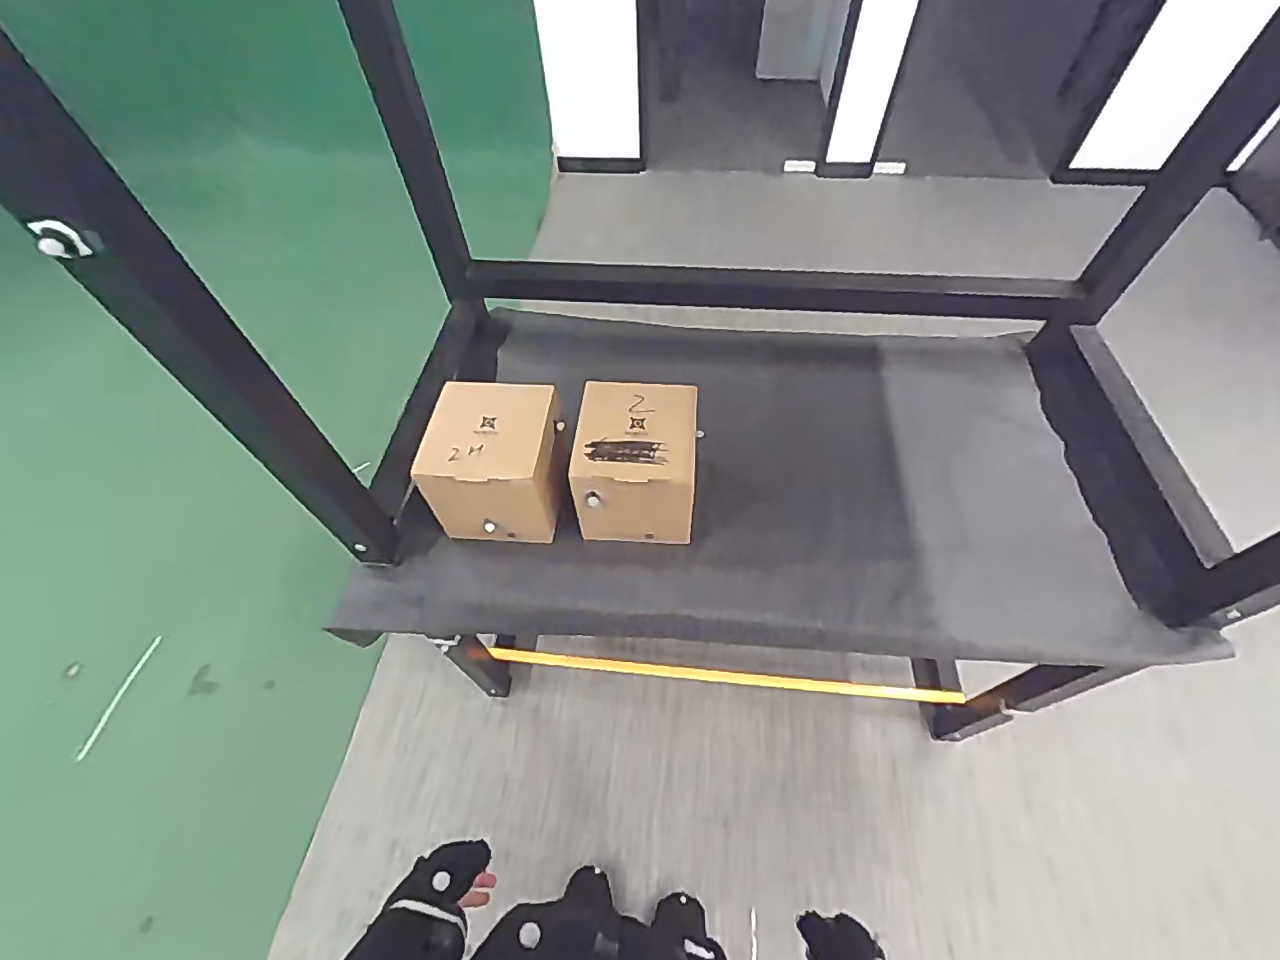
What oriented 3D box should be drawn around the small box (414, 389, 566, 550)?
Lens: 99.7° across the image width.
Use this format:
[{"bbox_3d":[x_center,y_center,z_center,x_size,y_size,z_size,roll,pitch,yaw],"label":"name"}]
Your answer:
[{"bbox_3d":[-0.210,-0.015,0.816,0.168,0.176,0.179,3,54,3],"label":"small box"}]
